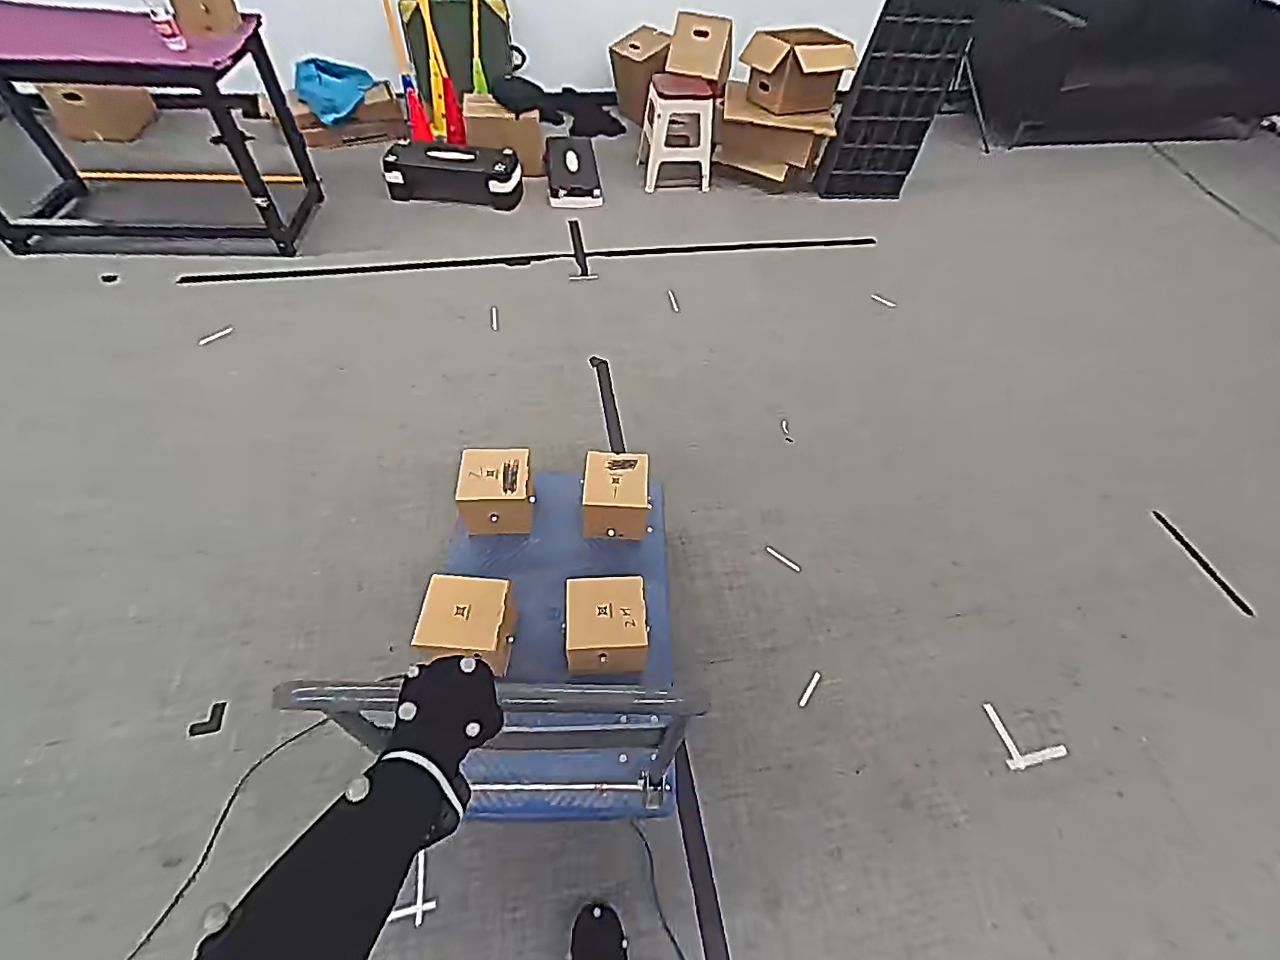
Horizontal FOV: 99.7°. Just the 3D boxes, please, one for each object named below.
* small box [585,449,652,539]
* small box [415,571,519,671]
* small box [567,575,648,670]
[{"bbox_3d":[-0.059,0.040,1.472,0.168,0.176,0.179,4,54,-2],"label":"small box"},{"bbox_3d":[-0.384,0.325,1.233,0.179,0.176,0.168,6,52,-2],"label":"small box"},{"bbox_3d":[-0.075,0.332,1.251,0.179,0.176,0.168,0,53,-5],"label":"small box"}]
